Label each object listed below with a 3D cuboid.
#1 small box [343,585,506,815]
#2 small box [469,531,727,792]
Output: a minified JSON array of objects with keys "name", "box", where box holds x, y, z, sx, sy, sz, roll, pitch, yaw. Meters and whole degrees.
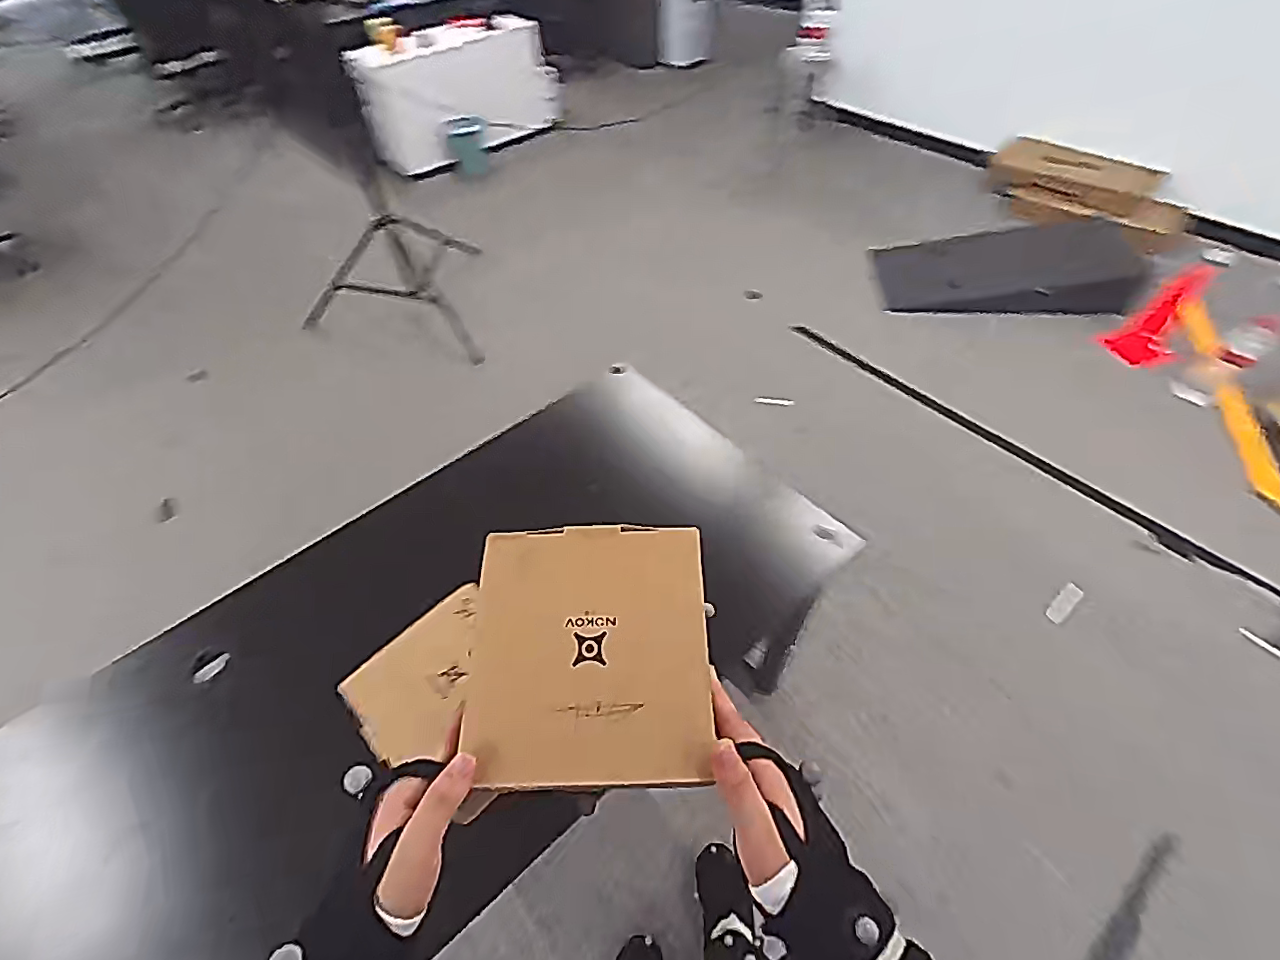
[{"name":"small box","box":[-0.208,0.269,0.656,0.168,0.176,0.179,36,63,28]},{"name":"small box","box":[-0.024,0.156,0.448,0.168,0.176,0.179,0,60,1]}]
